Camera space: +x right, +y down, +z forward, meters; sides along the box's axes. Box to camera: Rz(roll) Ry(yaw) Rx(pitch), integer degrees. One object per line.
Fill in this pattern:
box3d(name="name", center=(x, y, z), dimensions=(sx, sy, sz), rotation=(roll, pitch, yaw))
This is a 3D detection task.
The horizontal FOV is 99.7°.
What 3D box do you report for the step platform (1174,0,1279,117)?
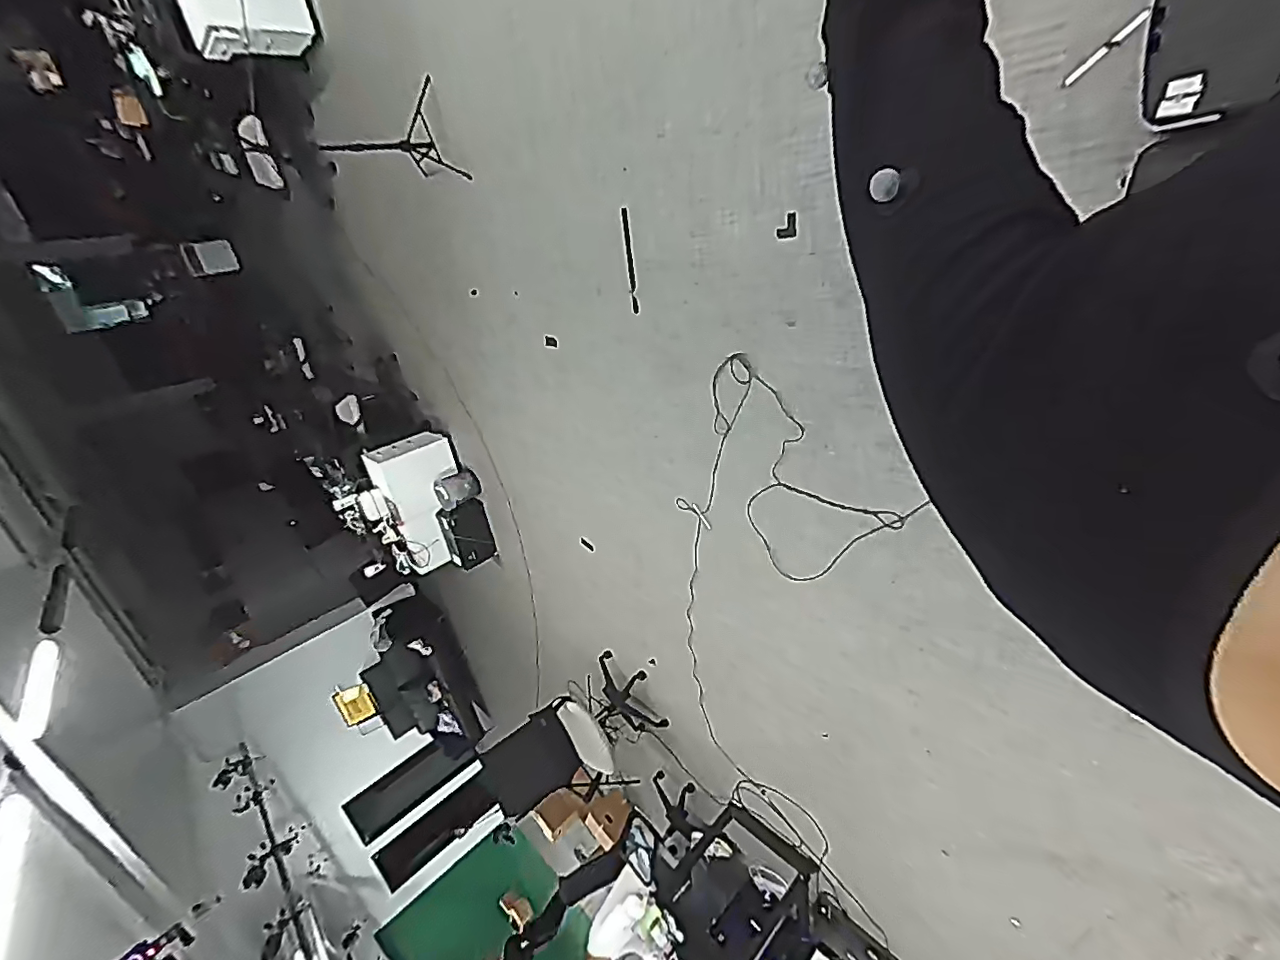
box3d(name="step platform", center=(1.145, -0.707, 0.672), dimensions=(0.684, 0.204, 0.286), rotation=(14, 124, 45))
